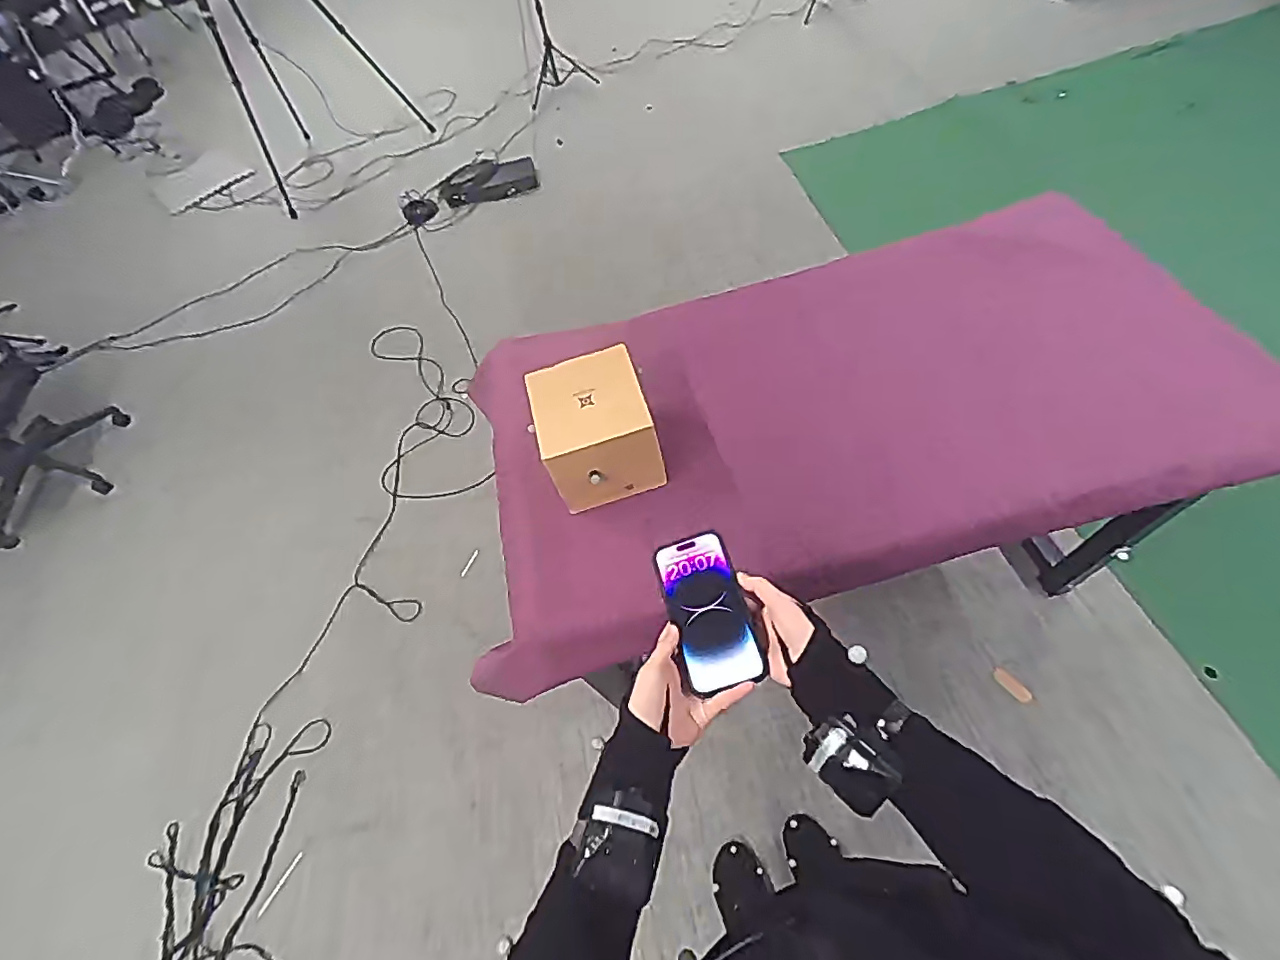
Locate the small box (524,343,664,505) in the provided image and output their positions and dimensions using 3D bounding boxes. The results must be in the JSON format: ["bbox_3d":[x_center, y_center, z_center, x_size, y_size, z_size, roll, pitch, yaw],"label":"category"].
[{"bbox_3d":[-0.068,-0.080,0.860,0.168,0.176,0.179,-18,56,0],"label":"small box"}]
